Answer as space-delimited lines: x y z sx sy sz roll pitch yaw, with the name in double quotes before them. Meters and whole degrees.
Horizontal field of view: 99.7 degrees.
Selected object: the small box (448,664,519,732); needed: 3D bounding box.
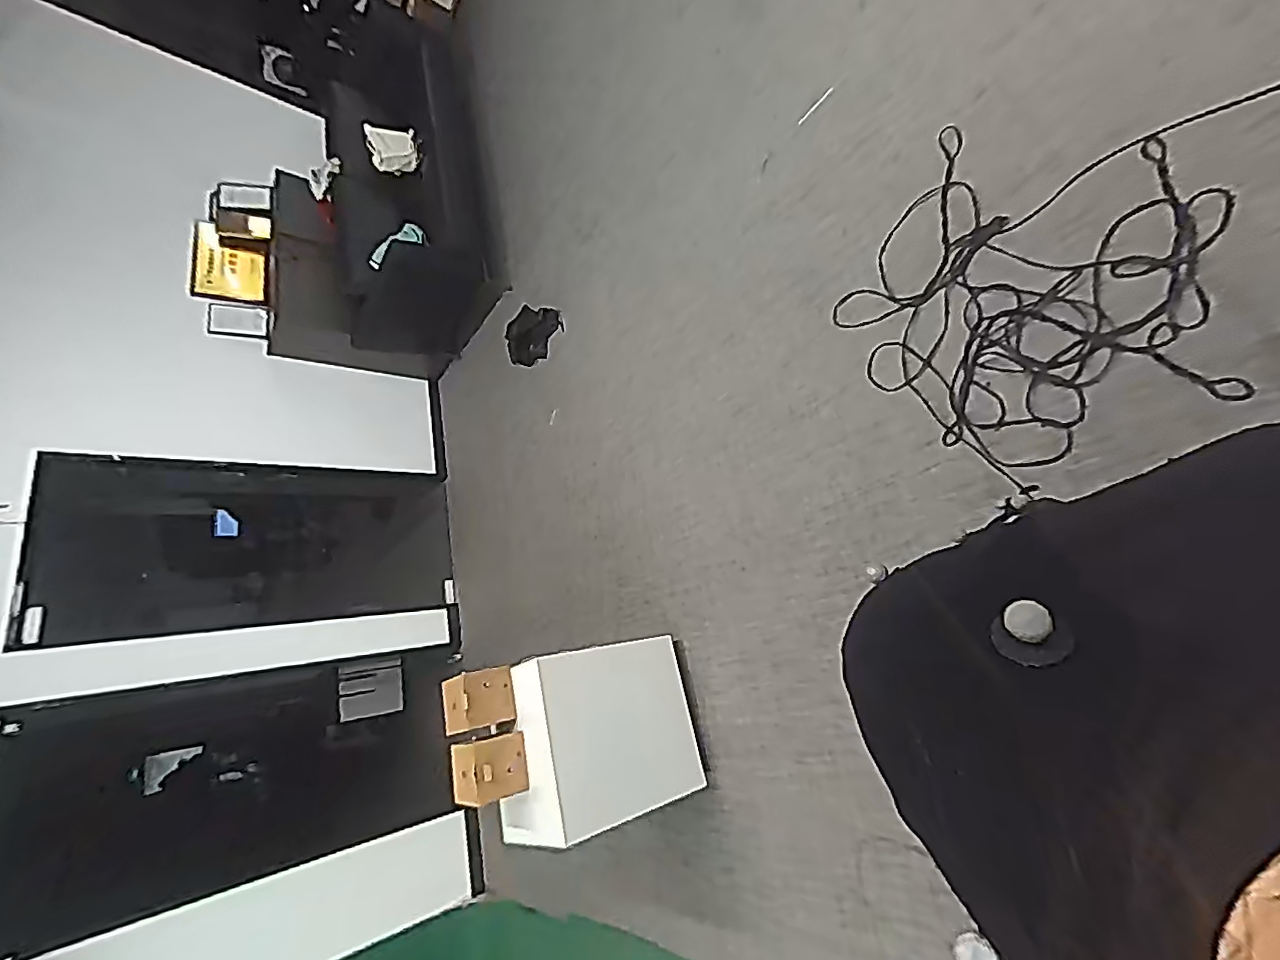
"small box" -0.502 0.702 1.747 0.179 0.176 0.168 -36 60 44
